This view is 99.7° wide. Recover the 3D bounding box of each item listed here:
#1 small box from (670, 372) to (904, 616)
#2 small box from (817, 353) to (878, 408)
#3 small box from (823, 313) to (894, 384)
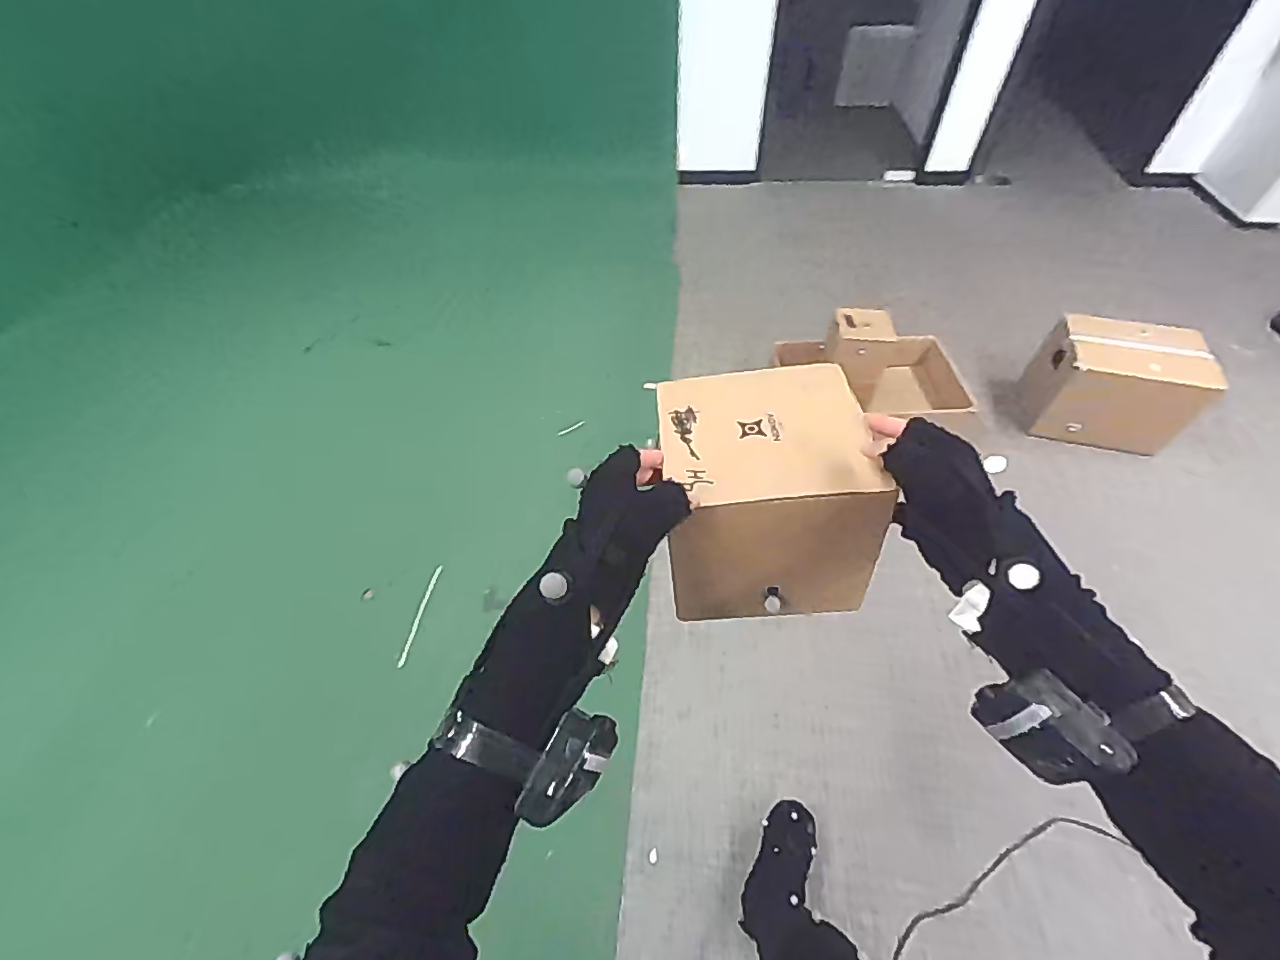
[{"bbox_3d":[0.120,0.016,0.521,0.179,0.176,0.168,-3,44,4],"label":"small box"},{"bbox_3d":[0.732,-0.338,1.953,0.179,0.176,0.168,5,52,3],"label":"small box"},{"bbox_3d":[0.728,-0.442,1.825,0.179,0.176,0.168,4,52,2],"label":"small box"}]
